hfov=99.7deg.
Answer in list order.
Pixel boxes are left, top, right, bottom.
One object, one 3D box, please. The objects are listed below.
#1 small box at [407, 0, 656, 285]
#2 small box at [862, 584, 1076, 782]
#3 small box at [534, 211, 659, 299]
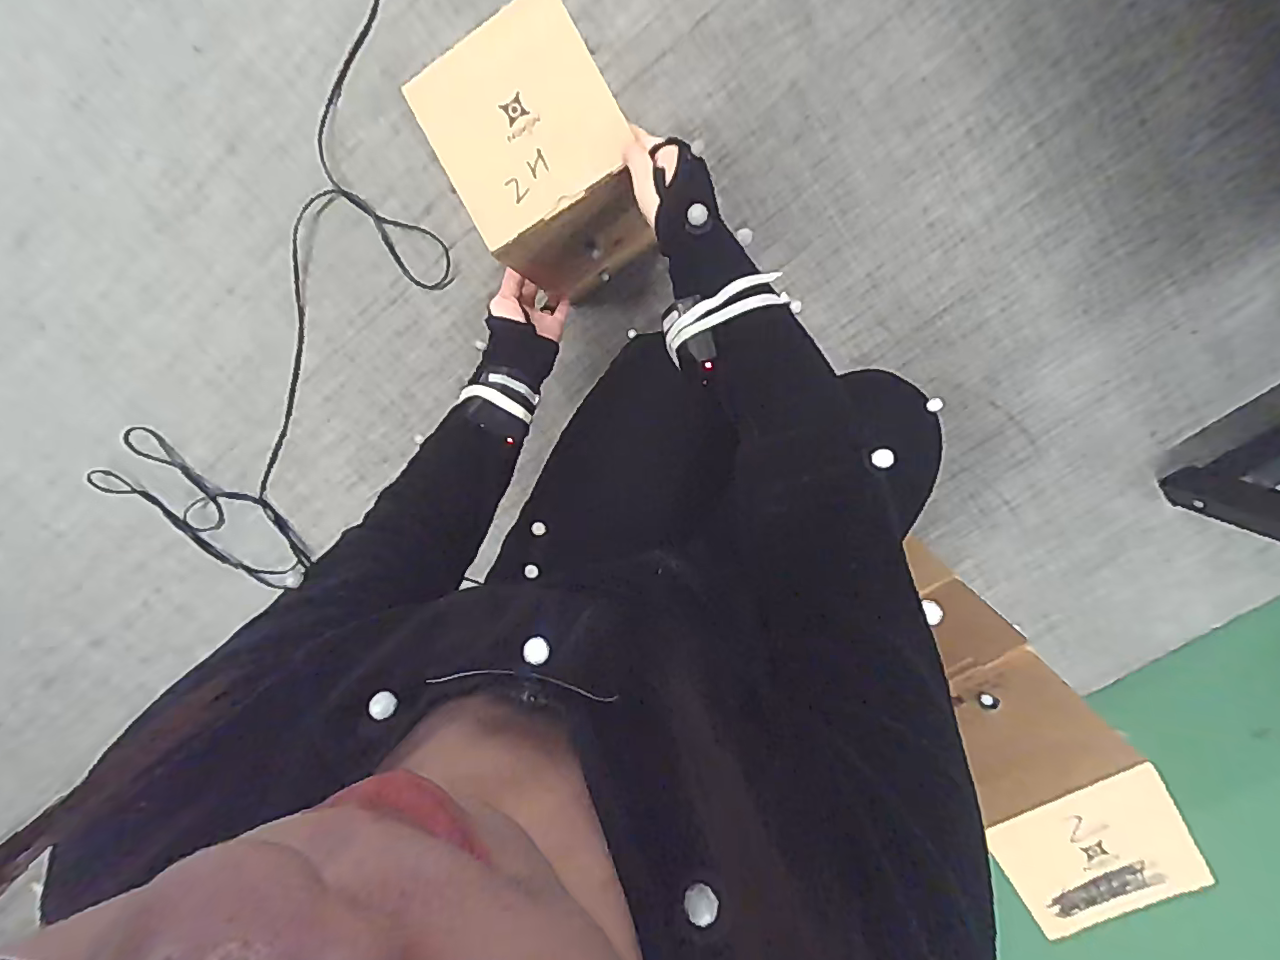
[{"bbox_3d":[-0.097,-0.335,0.568,0.168,0.176,0.179,-28,94,11],"label":"small box"},{"bbox_3d":[0.447,0.271,0.764,0.168,0.176,0.179,-34,105,12],"label":"small box"},{"bbox_3d":[-0.087,-0.366,0.745,0.179,0.176,0.168,-32,104,9],"label":"small box"}]
